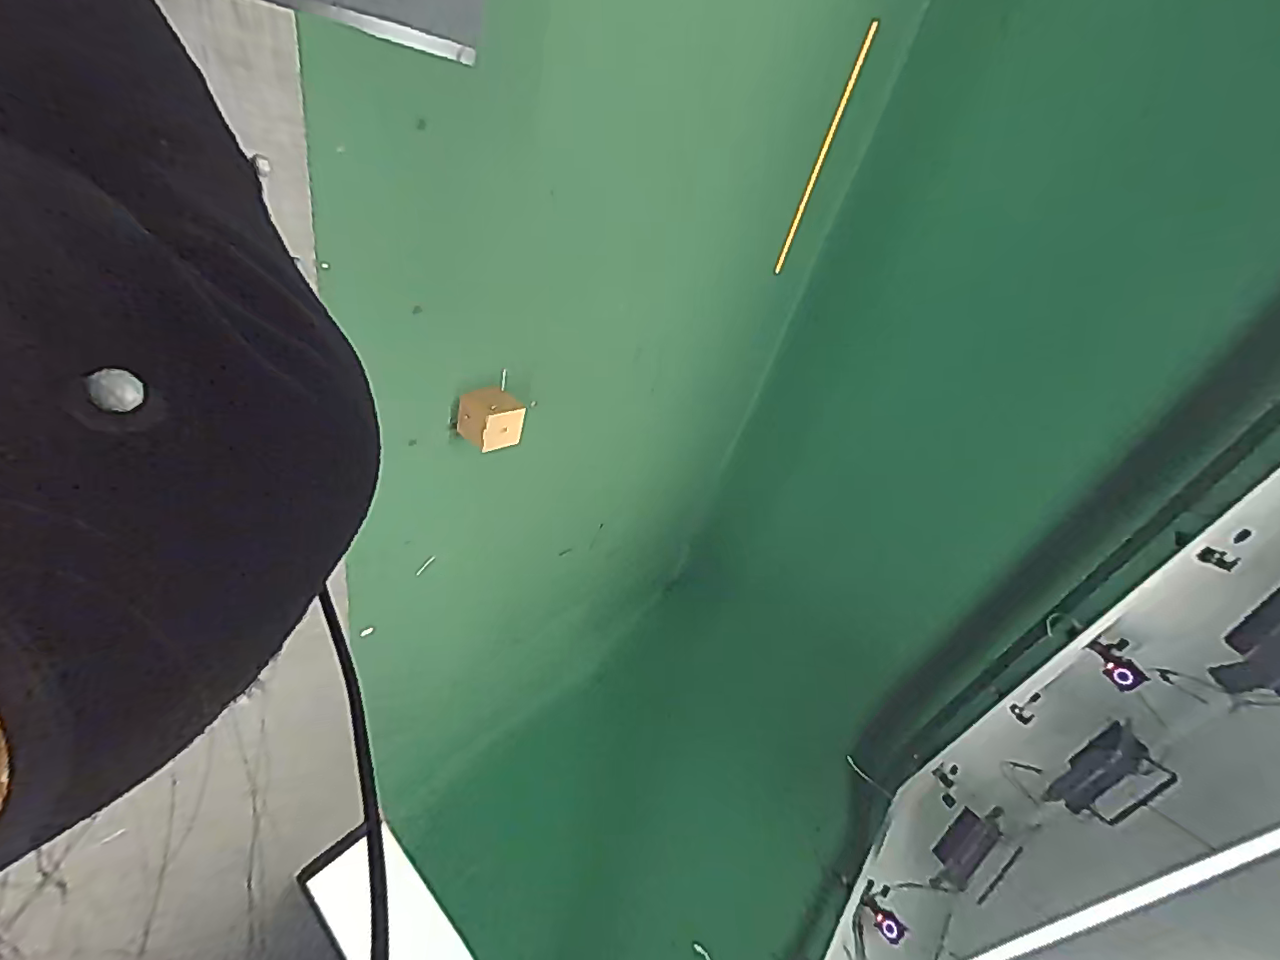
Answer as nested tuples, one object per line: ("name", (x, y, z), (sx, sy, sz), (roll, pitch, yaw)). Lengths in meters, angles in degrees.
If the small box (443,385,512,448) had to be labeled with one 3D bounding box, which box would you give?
("small box", (-0.622, -0.249, 2.063), (0.179, 0.176, 0.168), (-23, 143, -48))
